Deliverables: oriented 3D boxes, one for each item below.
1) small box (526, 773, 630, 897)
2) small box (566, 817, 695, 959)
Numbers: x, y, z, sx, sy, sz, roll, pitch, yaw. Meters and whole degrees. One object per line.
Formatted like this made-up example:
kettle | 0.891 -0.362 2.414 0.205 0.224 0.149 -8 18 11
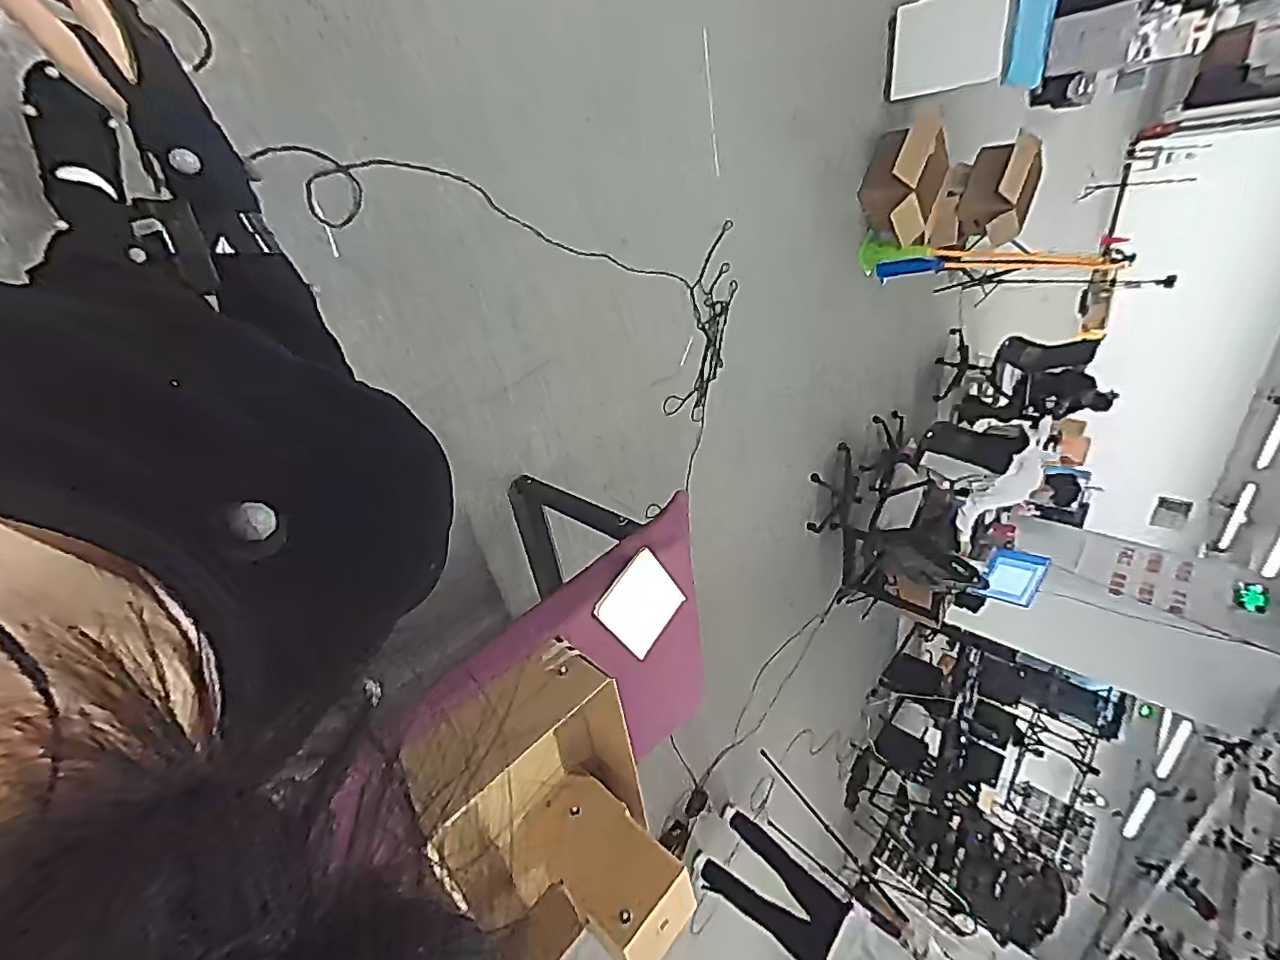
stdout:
small box | -0.126 0.780 1.179 0.168 0.176 0.179 -31 124 -35
small box | -0.017 0.819 1.066 0.179 0.176 0.168 -34 126 -34
